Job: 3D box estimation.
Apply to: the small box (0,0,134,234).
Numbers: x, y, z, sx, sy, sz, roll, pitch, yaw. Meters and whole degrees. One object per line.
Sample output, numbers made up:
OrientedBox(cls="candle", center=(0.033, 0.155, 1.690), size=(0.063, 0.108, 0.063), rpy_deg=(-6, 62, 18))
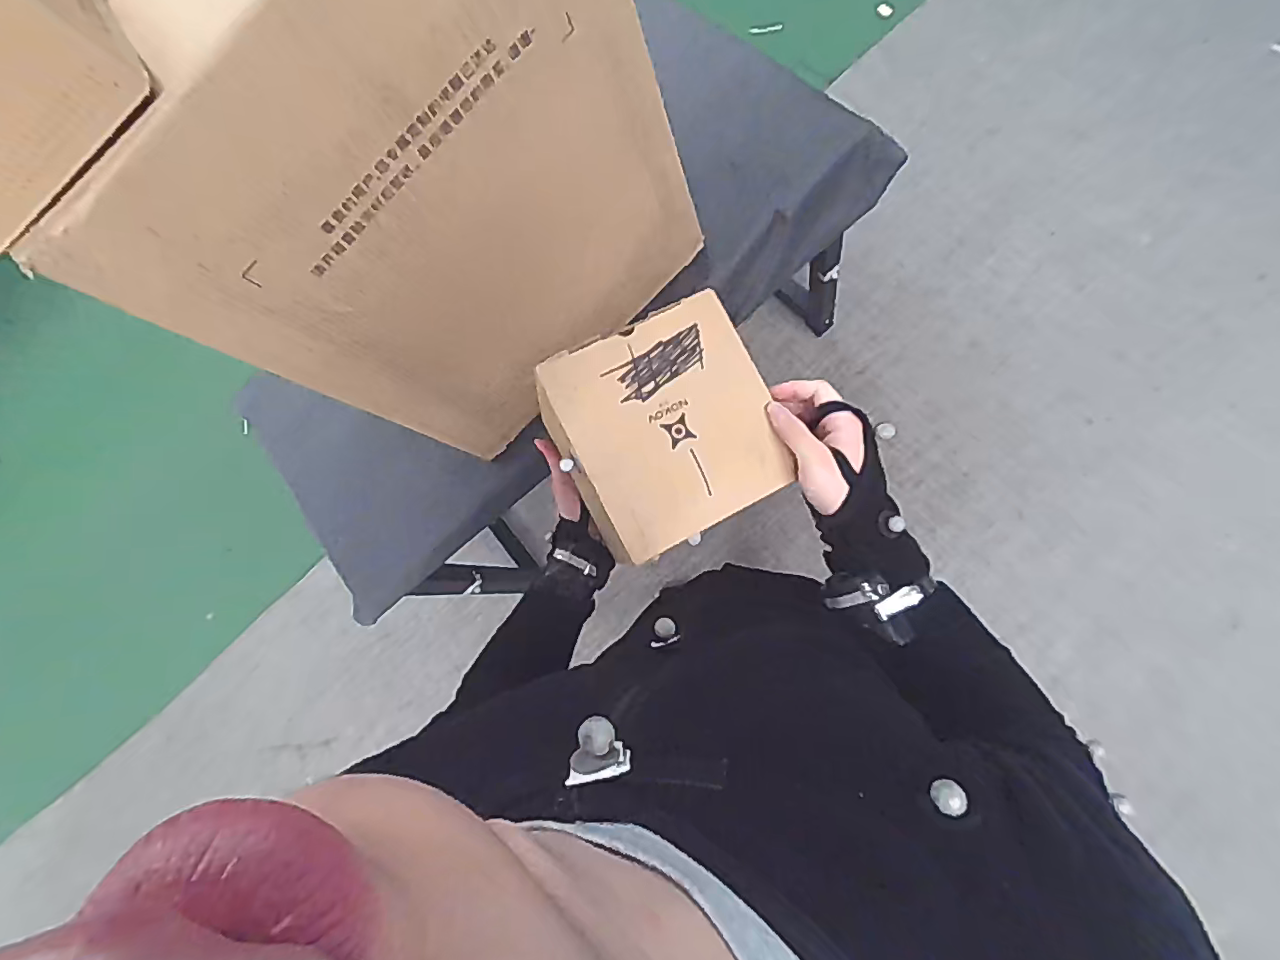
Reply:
OrientedBox(cls="small box", center=(-0.463, -0.279, 0.316), size=(0.179, 0.176, 0.168), rpy_deg=(-40, 74, 7))
